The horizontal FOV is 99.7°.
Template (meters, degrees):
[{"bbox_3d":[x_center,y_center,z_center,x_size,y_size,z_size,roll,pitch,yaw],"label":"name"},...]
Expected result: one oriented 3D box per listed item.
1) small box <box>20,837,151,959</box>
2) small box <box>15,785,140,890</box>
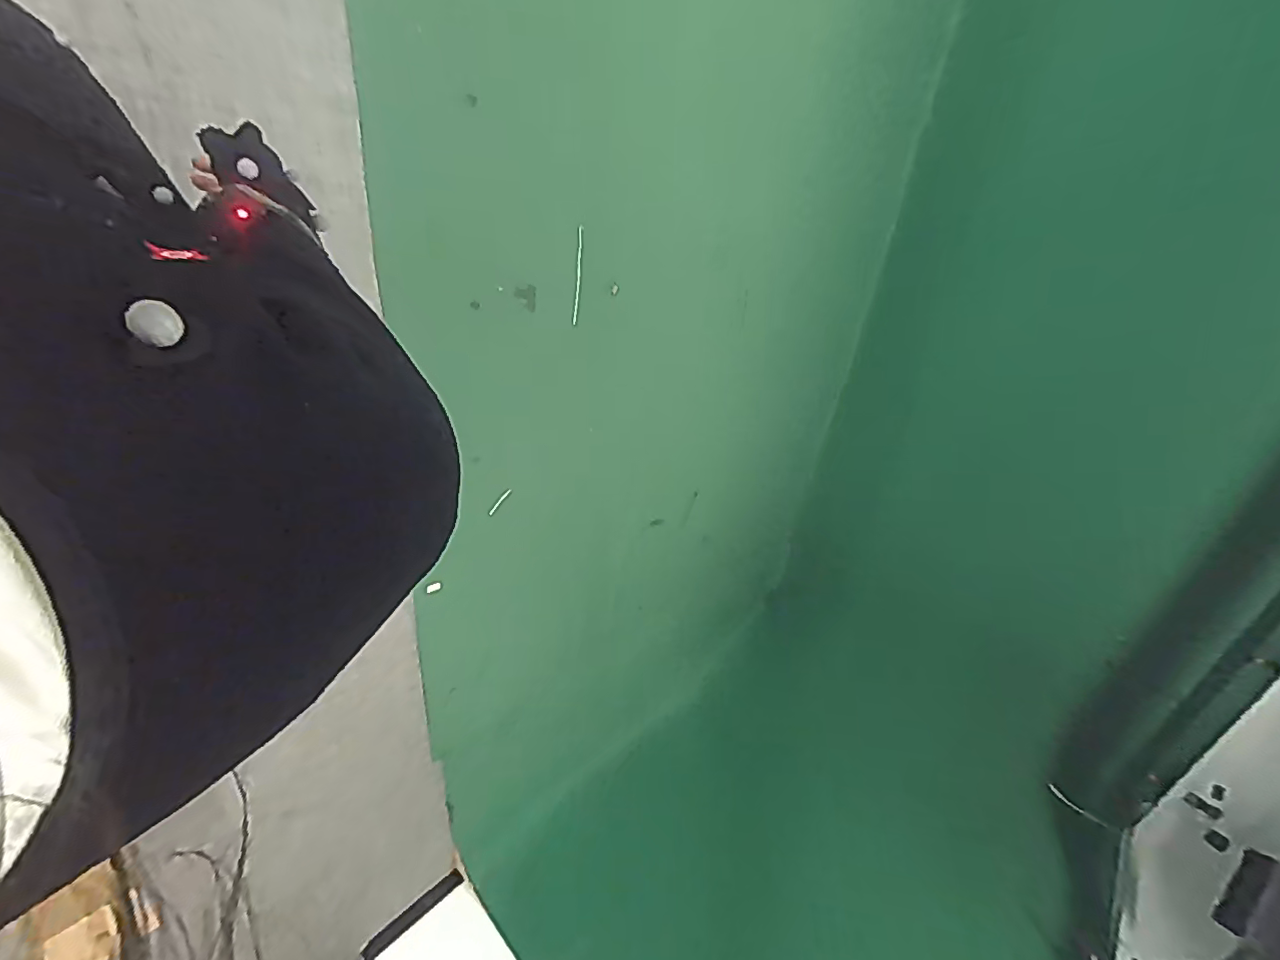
[{"bbox_3d":[-1.258,0.970,1.232,0.168,0.176,0.179,-23,129,-43],"label":"small box"},{"bbox_3d":[-1.372,0.897,1.321,0.179,0.176,0.168,-19,128,-42],"label":"small box"}]
